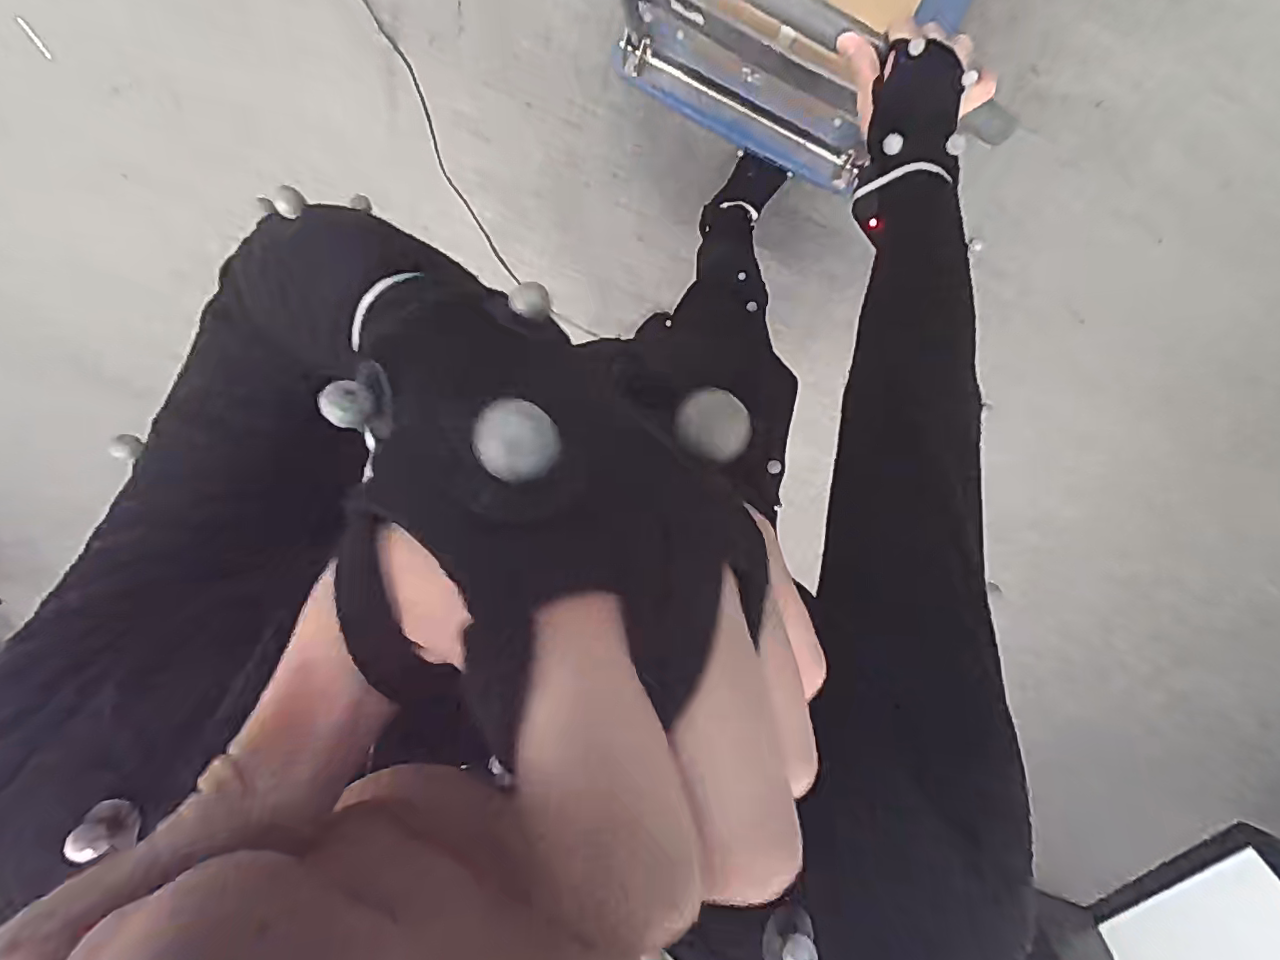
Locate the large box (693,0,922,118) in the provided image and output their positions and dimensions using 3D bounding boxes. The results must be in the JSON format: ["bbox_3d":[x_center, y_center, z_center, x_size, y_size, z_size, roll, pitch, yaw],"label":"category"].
[{"bbox_3d":[0.306,-0.866,0.840,0.320,0.320,0.408,24,118,-6],"label":"large box"}]
